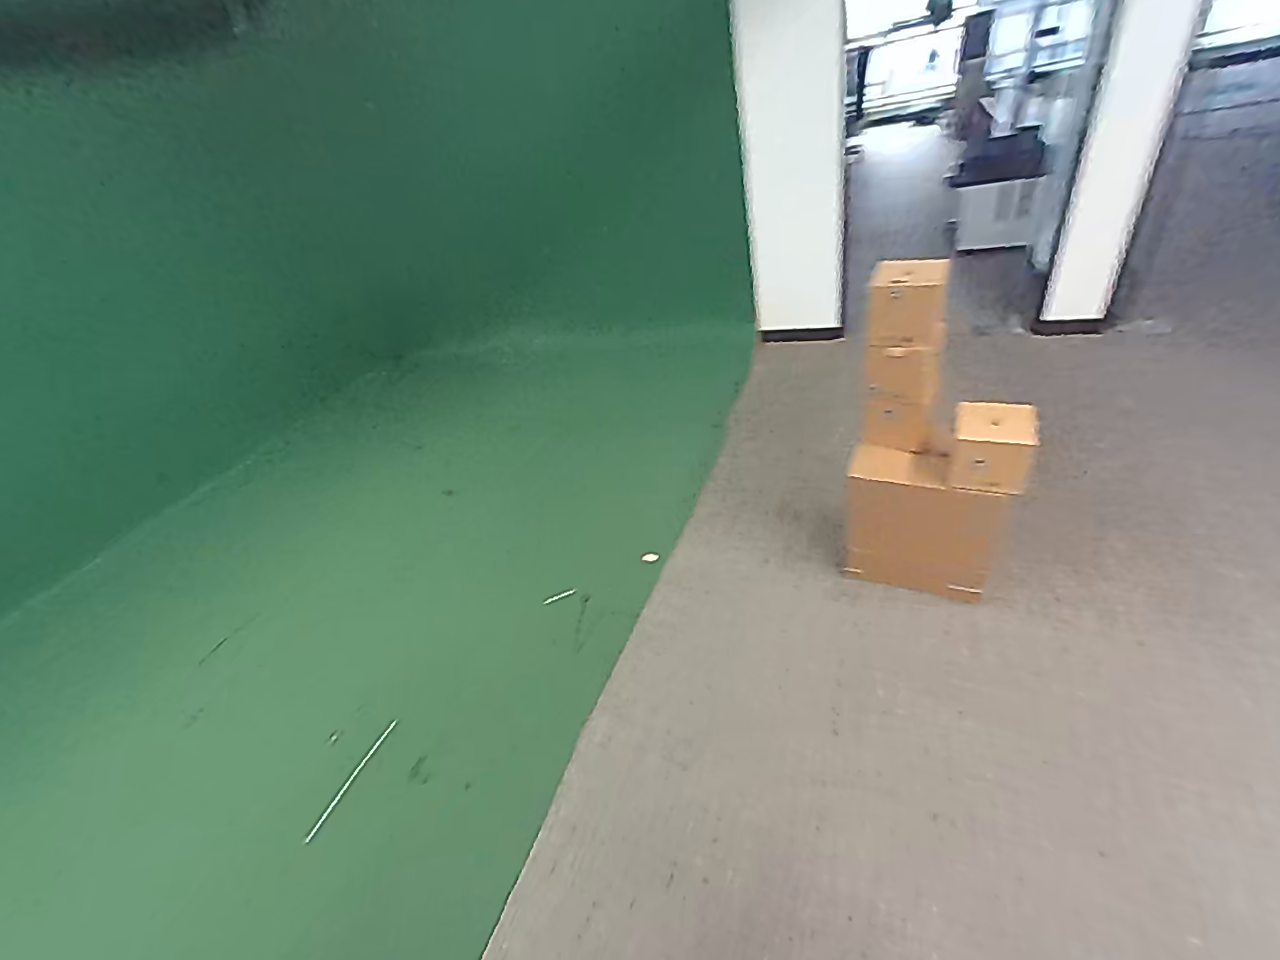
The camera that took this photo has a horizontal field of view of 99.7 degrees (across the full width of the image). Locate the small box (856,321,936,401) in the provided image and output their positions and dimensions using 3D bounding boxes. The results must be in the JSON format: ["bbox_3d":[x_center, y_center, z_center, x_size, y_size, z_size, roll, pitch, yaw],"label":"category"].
[{"bbox_3d":[0.726,-0.341,1.538,0.168,0.176,0.179,15,45,34],"label":"small box"}]

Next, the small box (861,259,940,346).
[{"bbox_3d":[0.693,-0.473,1.445,0.168,0.176,0.179,8,42,29],"label":"small box"}]

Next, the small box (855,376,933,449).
[{"bbox_3d":[0.763,-0.211,1.633,0.179,0.176,0.168,14,46,32],"label":"small box"}]

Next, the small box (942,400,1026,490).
[{"bbox_3d":[0.906,-0.093,1.431,0.168,0.176,0.179,7,43,26],"label":"small box"}]
